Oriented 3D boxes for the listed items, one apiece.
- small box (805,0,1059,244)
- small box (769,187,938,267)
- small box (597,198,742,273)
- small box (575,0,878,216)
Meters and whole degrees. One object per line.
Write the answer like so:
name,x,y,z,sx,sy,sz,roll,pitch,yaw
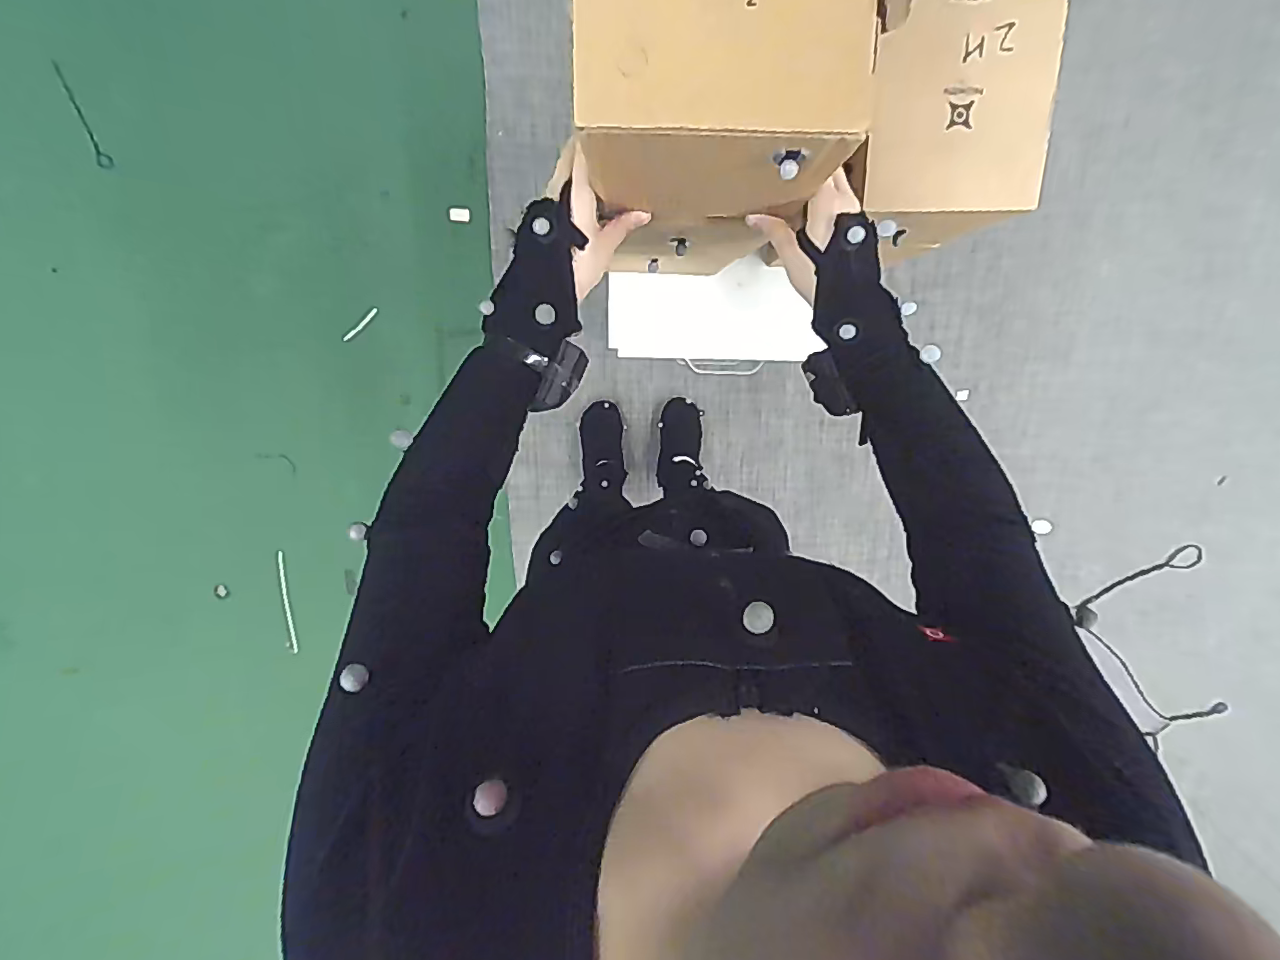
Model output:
small box,0.281,-0.352,0.565,0.168,0.176,0.179,-1,103,-2
small box,0.282,-0.386,0.726,0.179,0.176,0.168,1,103,-2
small box,0.034,-0.374,0.718,0.179,0.176,0.168,1,104,-4
small box,0.049,-0.301,0.386,0.179,0.176,0.168,0,100,-1
